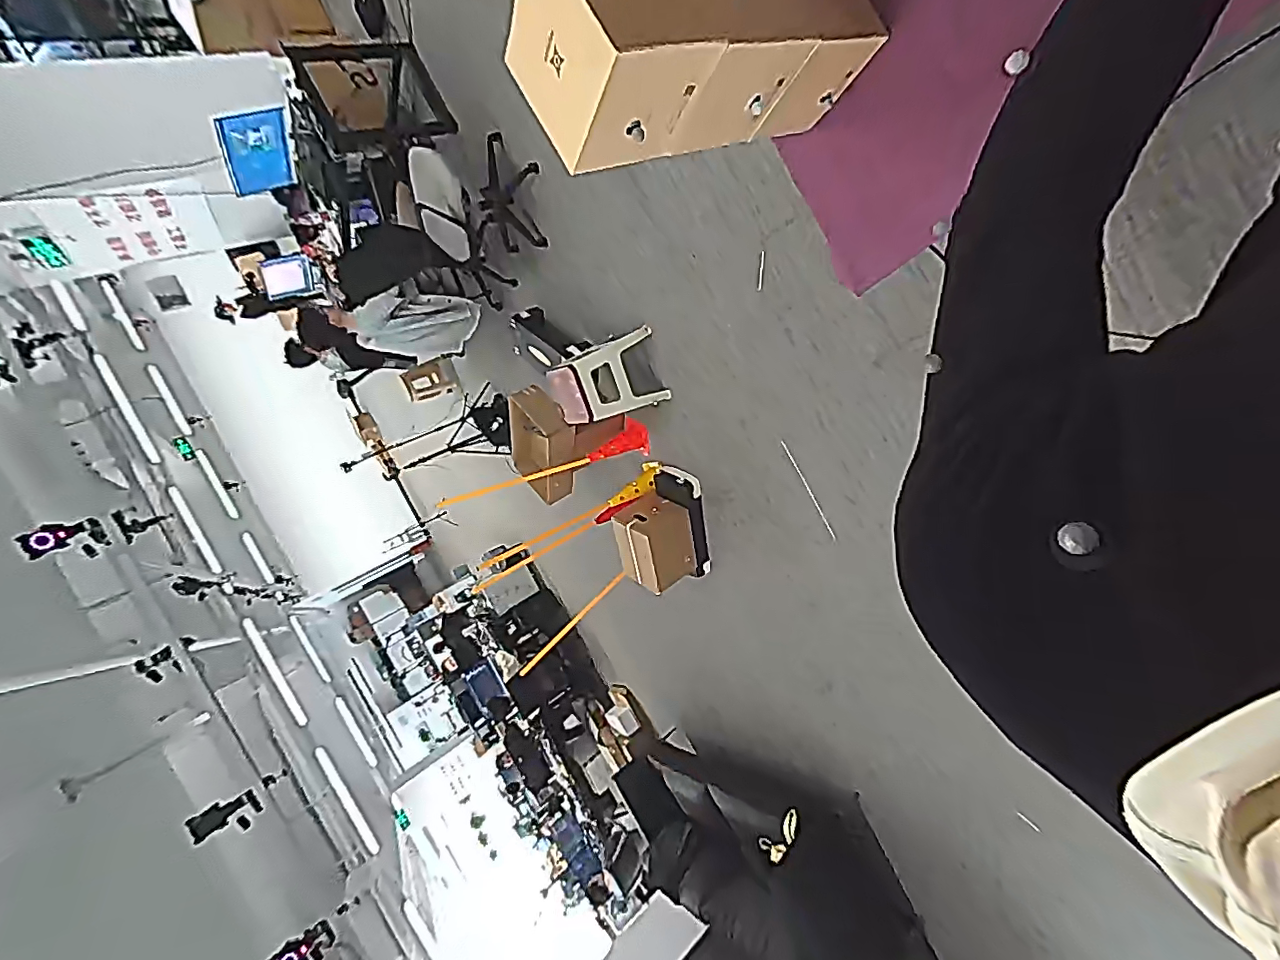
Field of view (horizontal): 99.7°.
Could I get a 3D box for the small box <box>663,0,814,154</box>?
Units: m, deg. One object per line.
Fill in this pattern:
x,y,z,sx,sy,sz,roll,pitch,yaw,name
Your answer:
0.095,-0.583,0.730,0.179,0.176,0.168,60,152,1,small box

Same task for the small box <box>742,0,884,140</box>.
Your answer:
0.220,-0.652,0.809,0.179,0.176,0.168,60,152,1,small box

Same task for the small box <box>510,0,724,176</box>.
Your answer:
-0.030,-0.514,0.653,0.179,0.176,0.168,60,152,2,small box
